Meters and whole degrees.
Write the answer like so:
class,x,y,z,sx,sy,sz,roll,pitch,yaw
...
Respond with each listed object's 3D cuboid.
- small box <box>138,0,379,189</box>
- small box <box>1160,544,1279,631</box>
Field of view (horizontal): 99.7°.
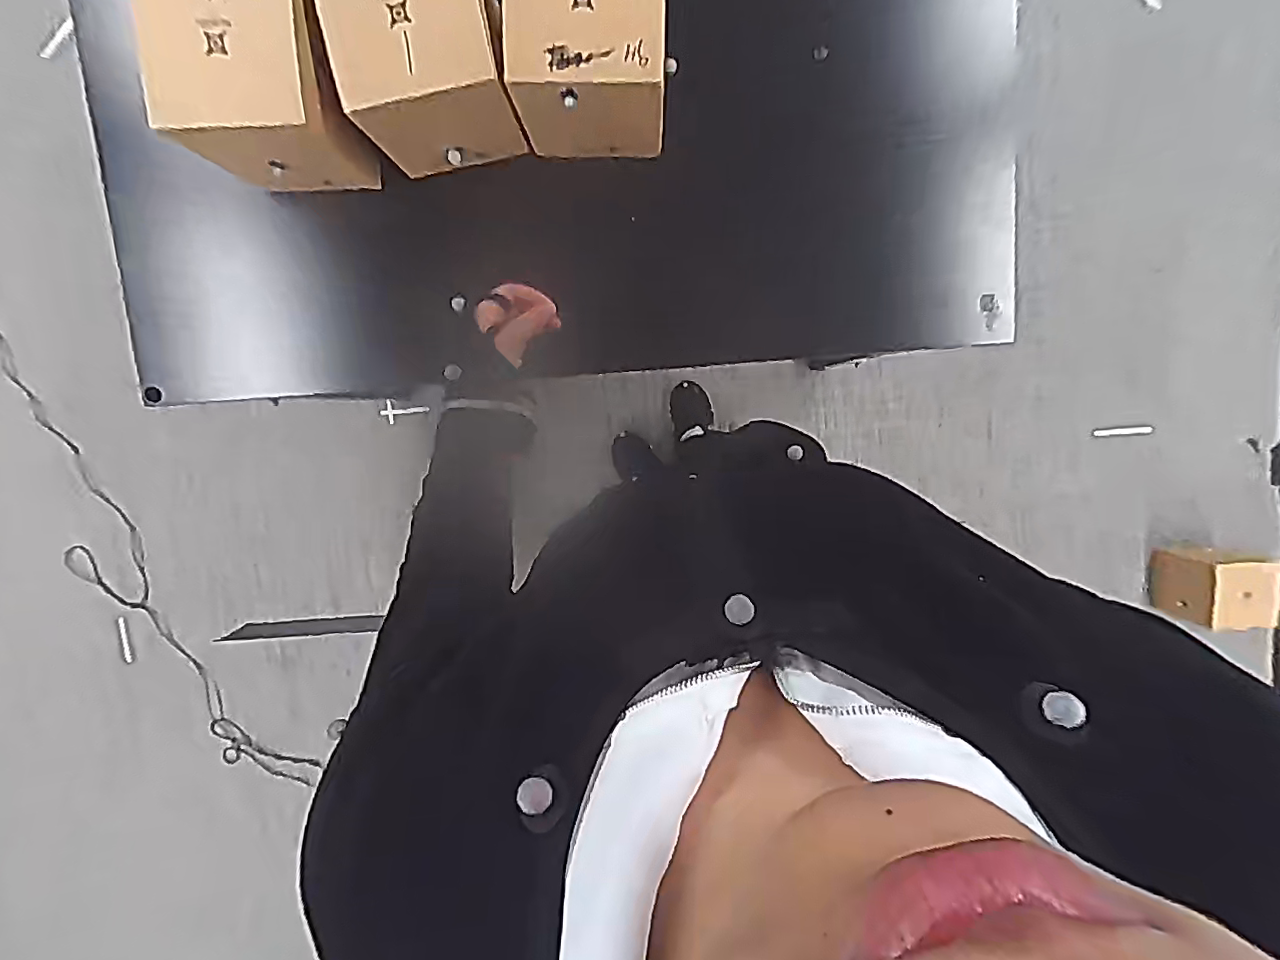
class,x,y,z,sx,sy,sz,roll,pitch,yaw
small box,-0.427,-0.460,0.635,0.168,0.176,0.179,-2,97,1
small box,1.520,0.276,1.415,0.168,0.176,0.179,-5,97,1
